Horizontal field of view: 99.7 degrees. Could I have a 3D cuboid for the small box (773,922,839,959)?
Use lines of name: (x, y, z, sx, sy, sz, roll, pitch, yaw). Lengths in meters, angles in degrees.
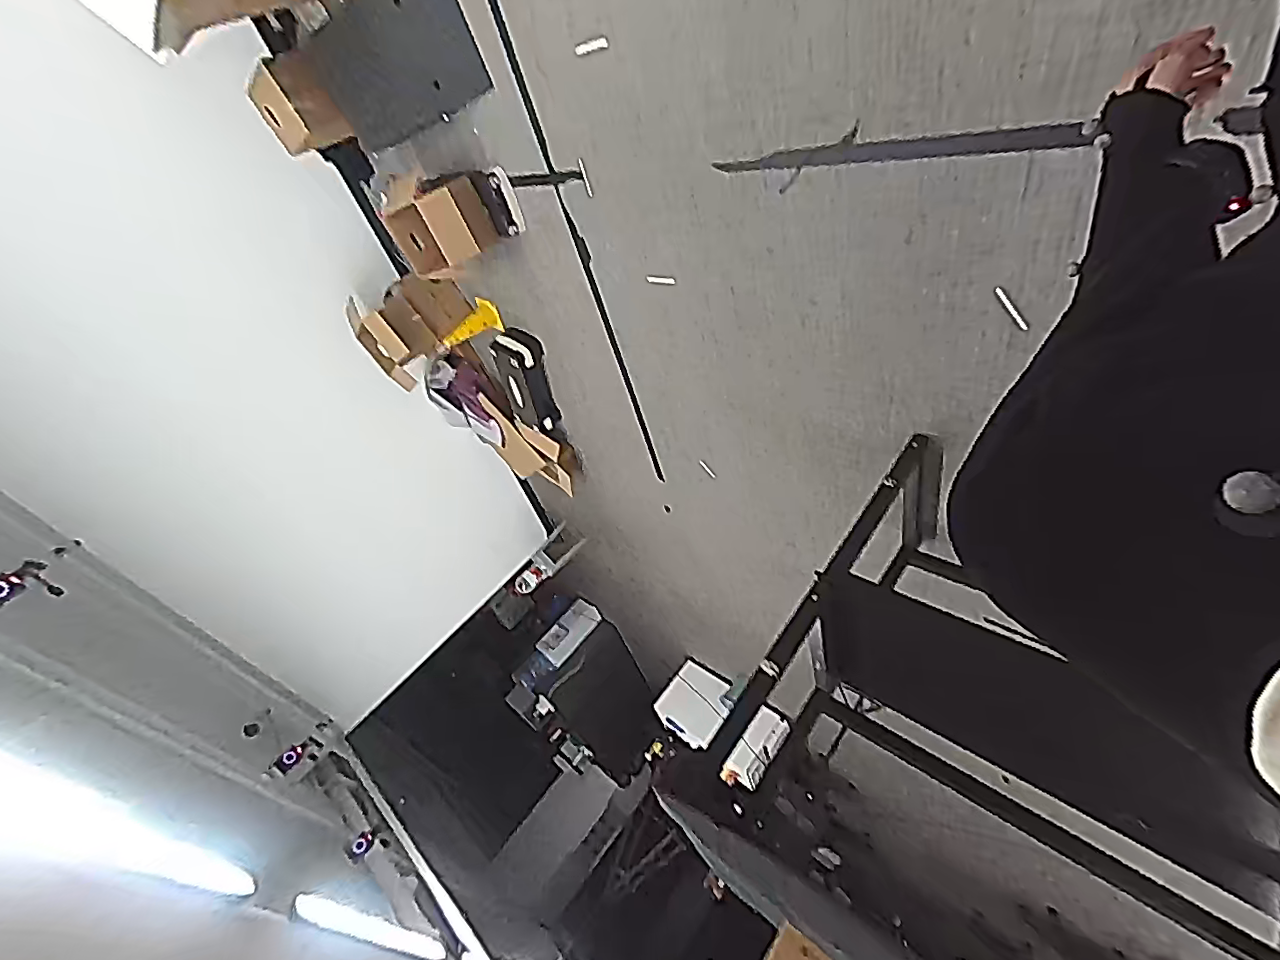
small box: (0.388, 1.157, 1.229, 0.168, 0.176, 0.179, 21, 145, 41)
